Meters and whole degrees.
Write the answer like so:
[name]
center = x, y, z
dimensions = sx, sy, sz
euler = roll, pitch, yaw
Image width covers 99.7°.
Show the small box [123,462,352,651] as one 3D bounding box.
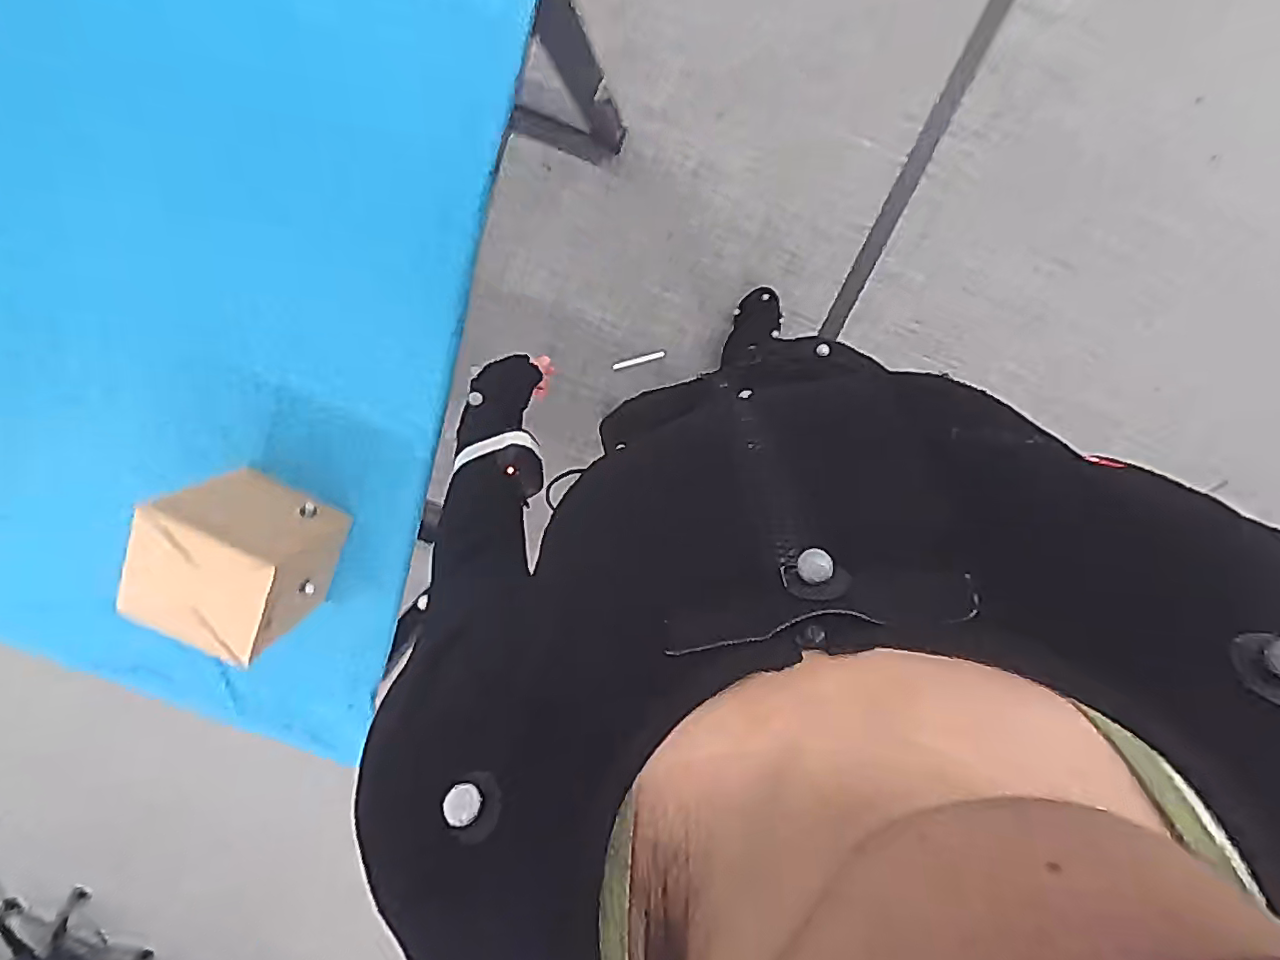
[small box]
center = -0.545, 0.102, 0.746
dimensions = 0.179, 0.176, 0.168
euler = 26, 108, -4
